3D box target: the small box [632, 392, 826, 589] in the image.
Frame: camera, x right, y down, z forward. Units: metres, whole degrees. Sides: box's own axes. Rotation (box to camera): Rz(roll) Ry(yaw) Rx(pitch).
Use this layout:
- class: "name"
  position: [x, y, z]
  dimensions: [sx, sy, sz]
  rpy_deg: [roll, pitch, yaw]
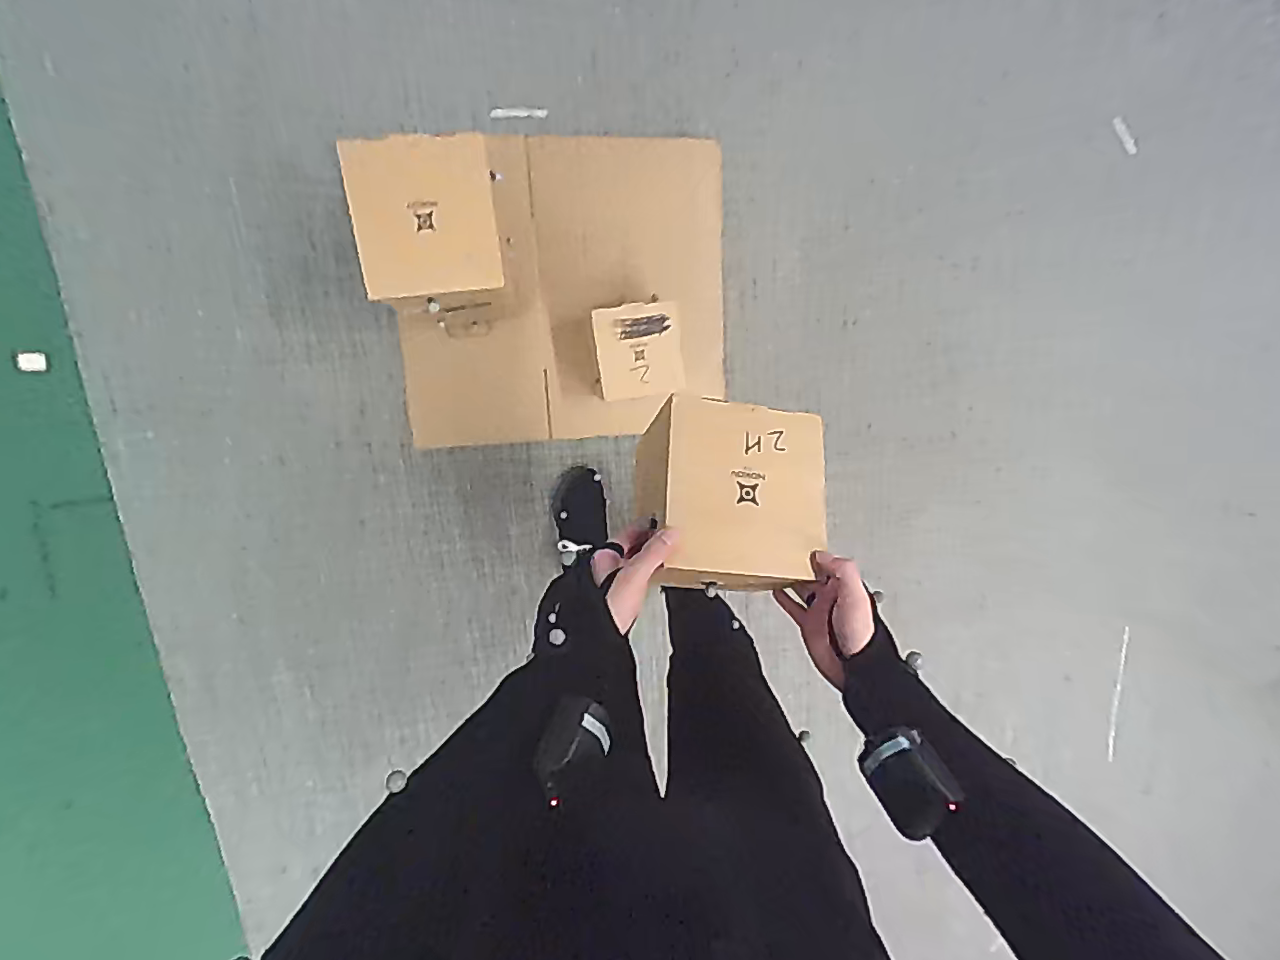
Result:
- class: "small box"
  position: [0.088, 0.025, 0.601]
  dimensions: [0.168, 0.176, 0.179]
  rpy_deg: [7, 73, -11]

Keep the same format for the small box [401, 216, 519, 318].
- class: "small box"
  position: [-0.295, -0.361, 0.872]
  dimensions: [0.168, 0.176, 0.179]
  rpy_deg: [-9, 103, -7]

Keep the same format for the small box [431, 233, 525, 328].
- class: "small box"
  position: [-0.320, -0.396, 1.030]
  dimensions: [0.168, 0.176, 0.179]
  rpy_deg: [-12, 104, -6]

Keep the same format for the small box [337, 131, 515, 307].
- class: "small box"
  position: [-0.265, -0.329, 0.716]
  dimensions: [0.168, 0.176, 0.179]
  rpy_deg: [-8, 103, -7]
